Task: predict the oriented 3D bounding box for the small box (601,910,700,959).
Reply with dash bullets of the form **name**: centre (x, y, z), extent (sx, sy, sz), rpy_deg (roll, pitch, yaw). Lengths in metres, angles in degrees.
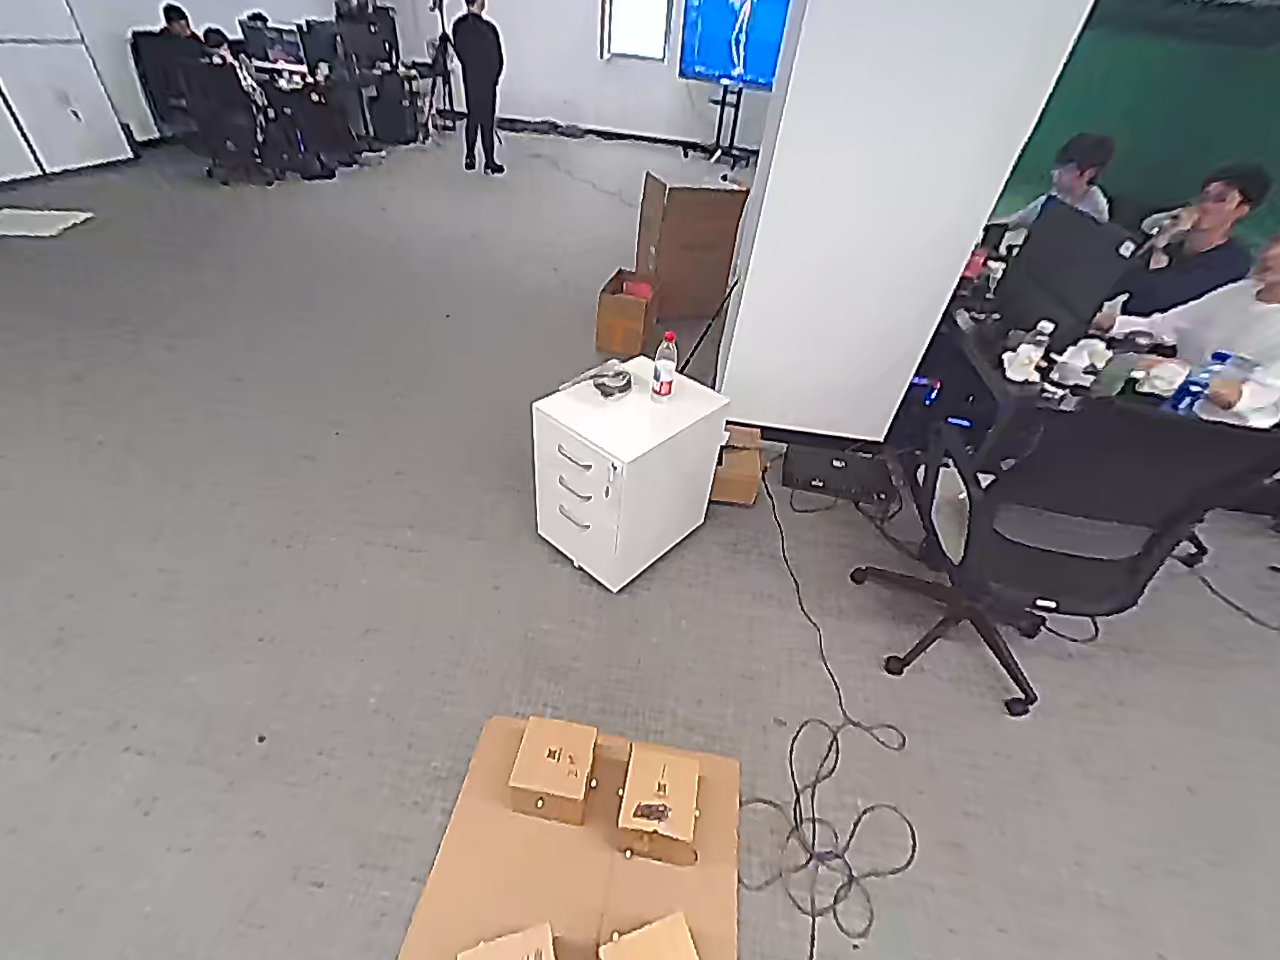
- **small box**: centre (0.027, 0.979, 1.045), extent (0.179, 0.176, 0.168), rpy_deg (-12, 42, -18)
